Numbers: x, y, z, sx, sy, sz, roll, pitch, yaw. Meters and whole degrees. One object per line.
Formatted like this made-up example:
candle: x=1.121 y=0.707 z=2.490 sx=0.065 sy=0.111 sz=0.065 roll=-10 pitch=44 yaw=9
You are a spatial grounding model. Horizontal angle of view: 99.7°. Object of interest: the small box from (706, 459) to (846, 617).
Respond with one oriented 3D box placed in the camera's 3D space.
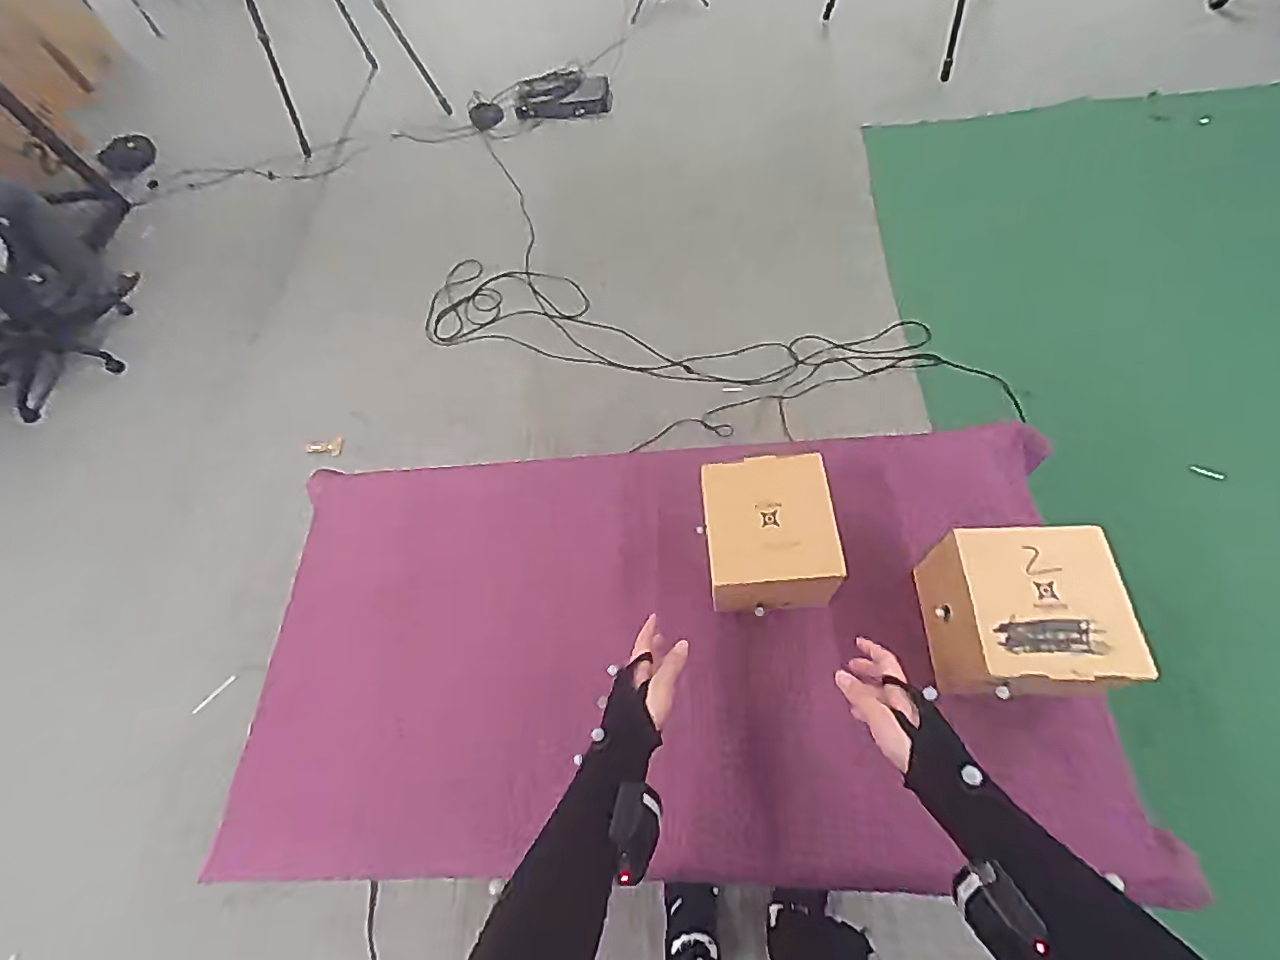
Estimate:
small box: x=0.182 y=0.089 z=0.778 sx=0.168 sy=0.176 sz=0.179 roll=-5 pitch=63 yaw=7
